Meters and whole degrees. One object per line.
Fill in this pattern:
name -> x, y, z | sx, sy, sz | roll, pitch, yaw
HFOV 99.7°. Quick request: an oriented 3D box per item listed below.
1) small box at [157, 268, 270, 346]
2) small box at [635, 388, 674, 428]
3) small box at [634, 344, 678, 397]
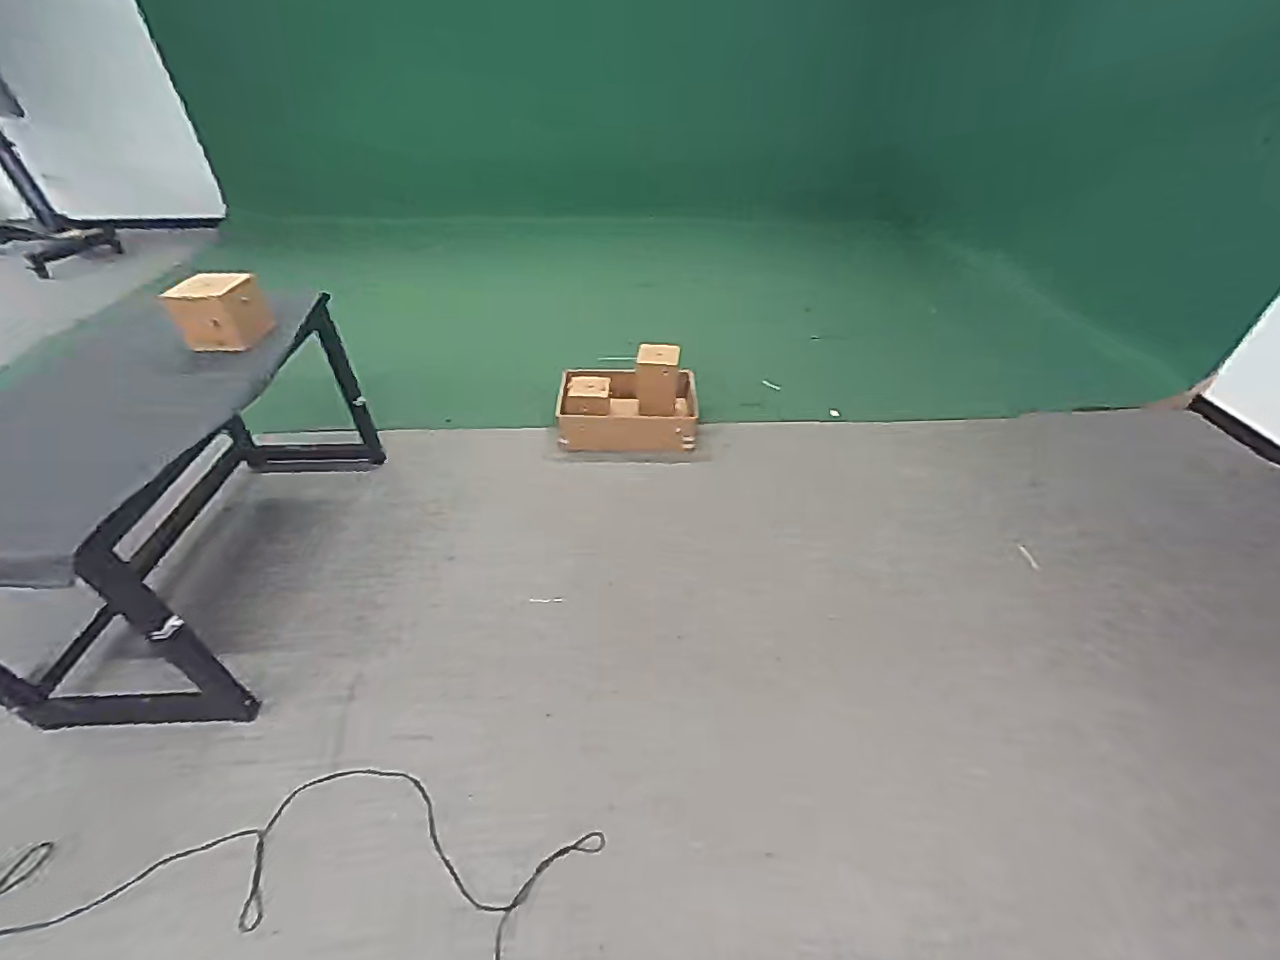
small box -> -1.235, -0.506, 1.586 | 0.168, 0.176, 0.179 | 2, 40, 0
small box -> 0.066, -0.361, 2.492 | 0.168, 0.176, 0.179 | 4, 43, 4
small box -> 0.069, -0.480, 2.379 | 0.179, 0.176, 0.168 | 5, 42, 5
